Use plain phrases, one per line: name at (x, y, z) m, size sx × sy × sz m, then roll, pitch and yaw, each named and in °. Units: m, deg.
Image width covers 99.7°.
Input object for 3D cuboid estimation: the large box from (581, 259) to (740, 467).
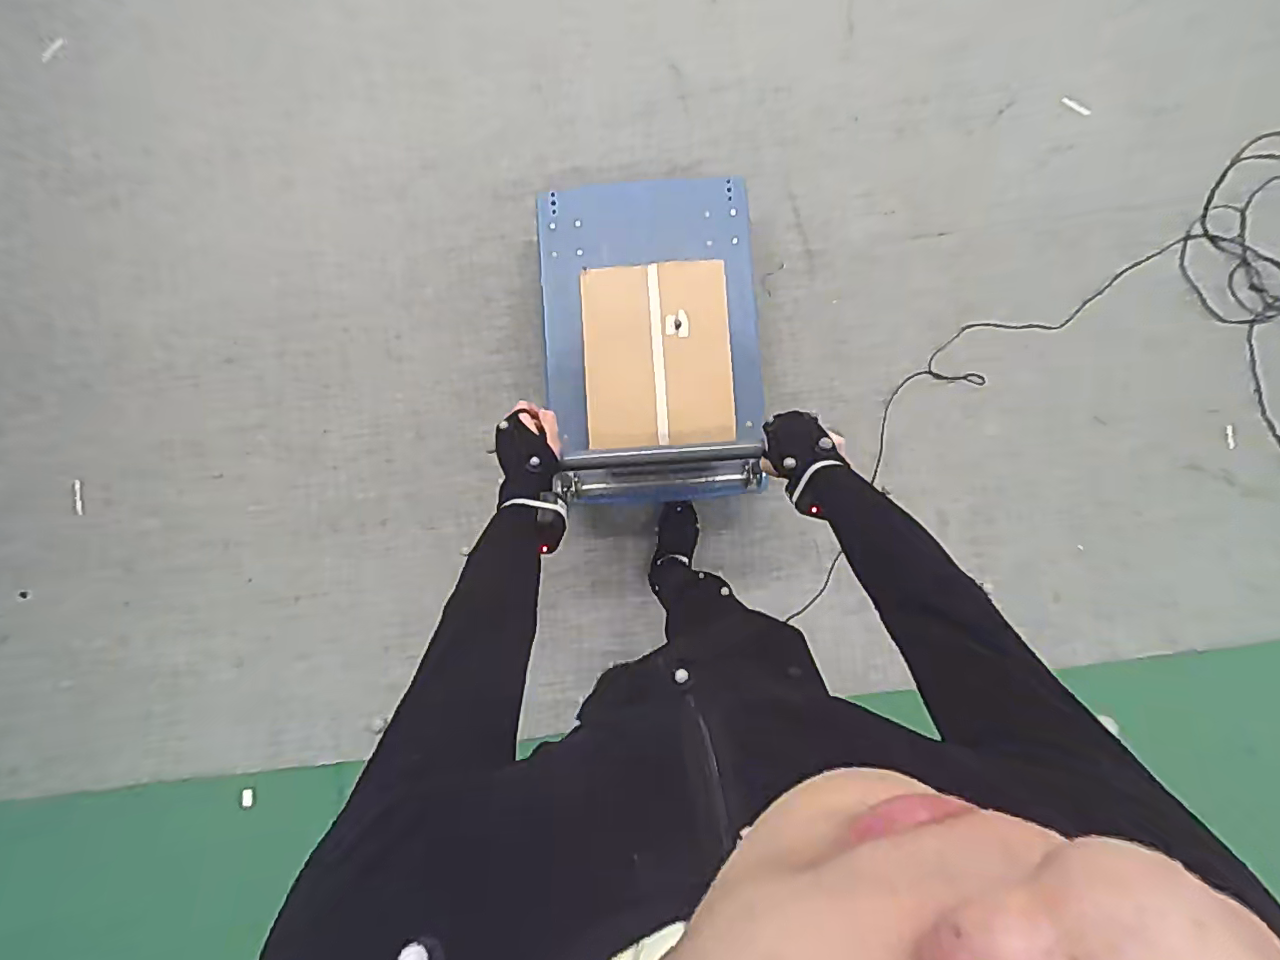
large box at (0.046, -0.253, 1.289) m, size 0.320 × 0.320 × 0.408 m, roll -4°, pitch 86°, yaw 1°
